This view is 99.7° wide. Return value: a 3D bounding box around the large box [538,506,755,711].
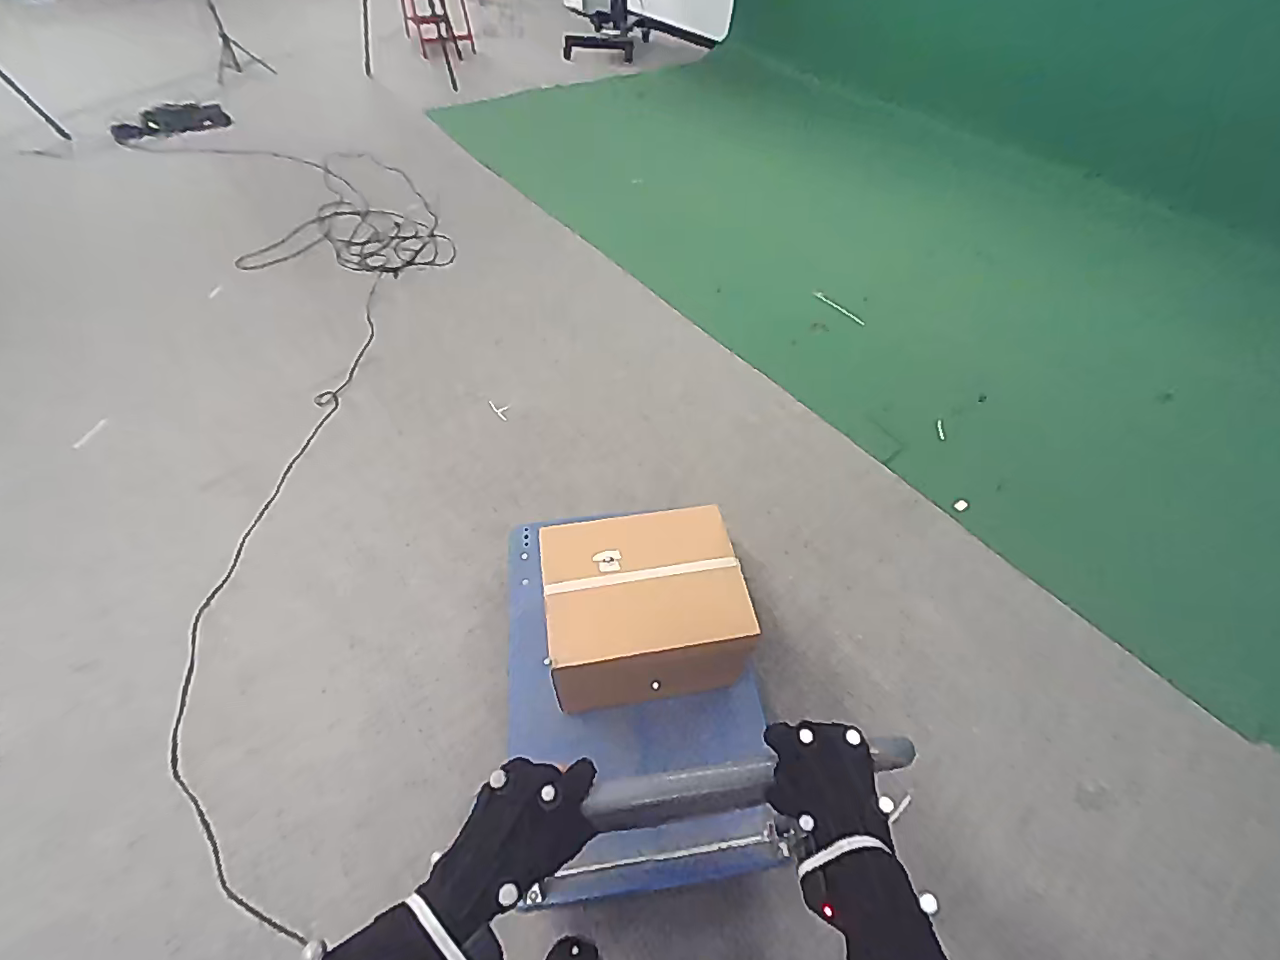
[{"bbox_3d":[-0.001,0.293,1.224,0.408,0.320,0.320,-7,52,-8],"label":"large box"}]
